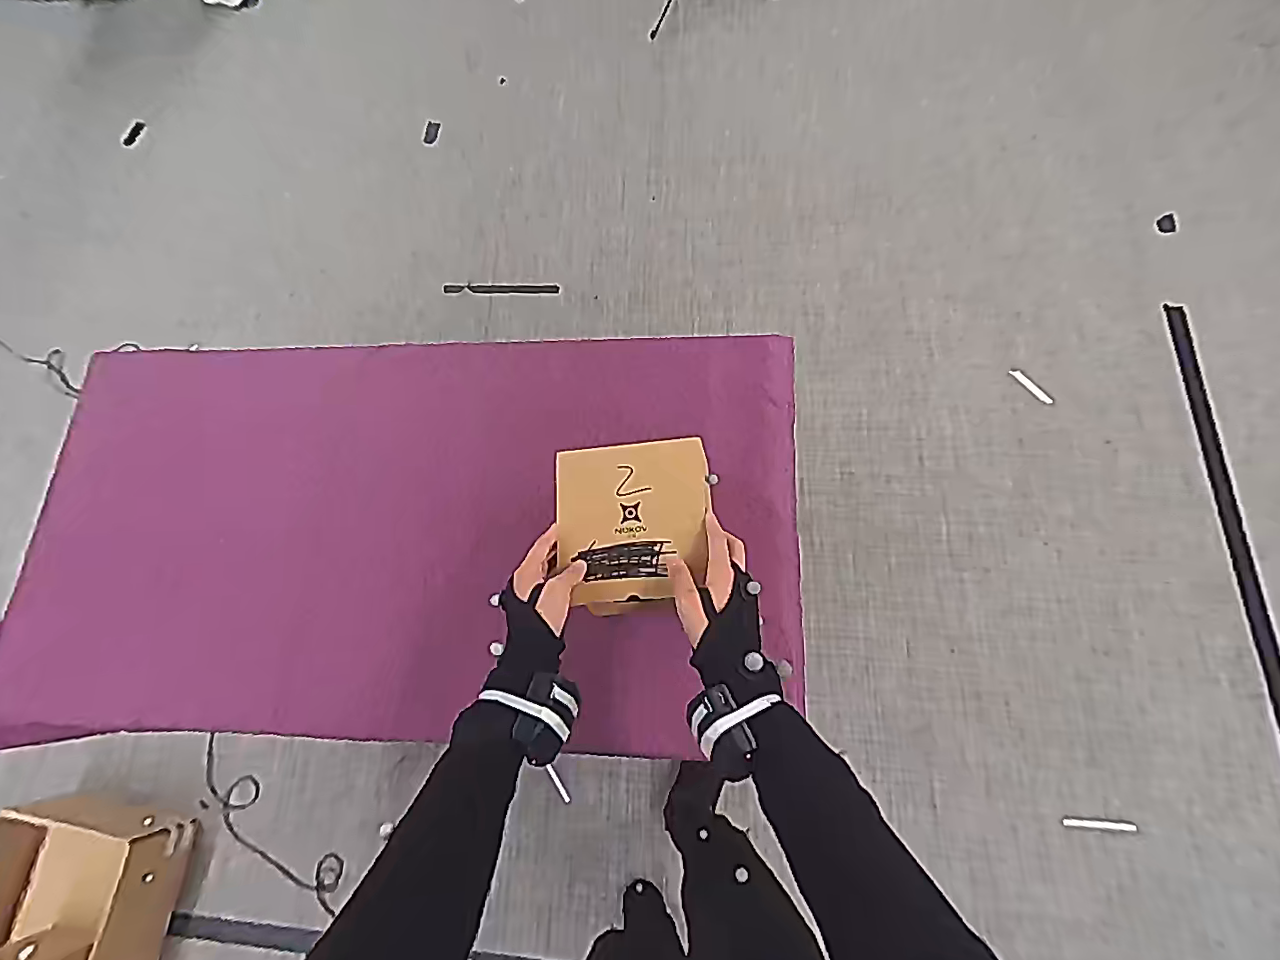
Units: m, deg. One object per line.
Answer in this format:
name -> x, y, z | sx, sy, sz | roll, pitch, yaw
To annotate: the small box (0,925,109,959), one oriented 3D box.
small box -> -1.395, 1.161, 1.239 | 0.179, 0.176, 0.168 | 2, 72, 7
